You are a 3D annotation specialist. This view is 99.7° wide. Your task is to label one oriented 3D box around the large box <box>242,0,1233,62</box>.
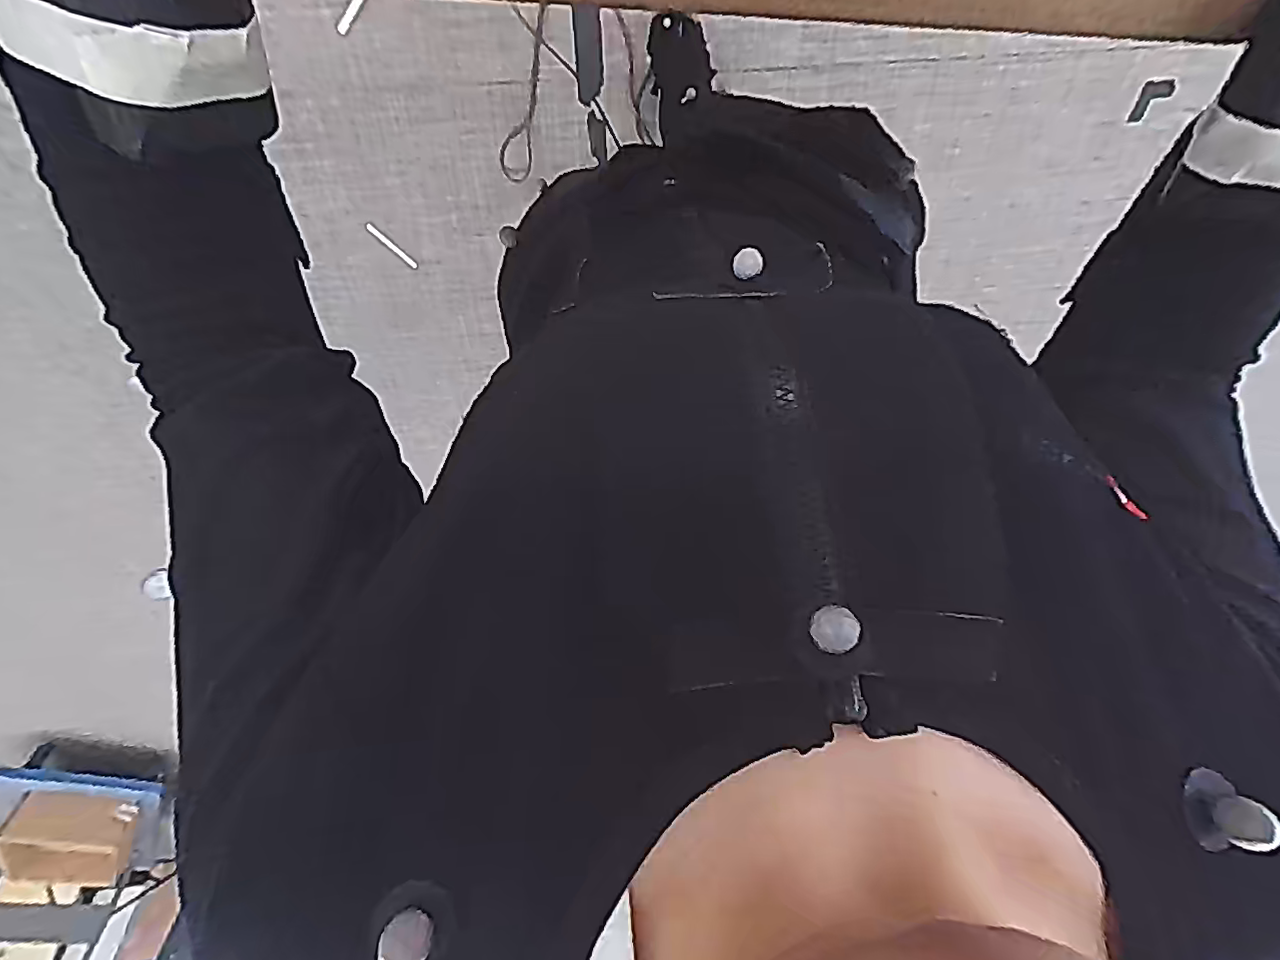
[{"bbox_3d":[0.046,-0.380,0.142,0.408,0.320,0.320,1,157,-3],"label":"large box"}]
